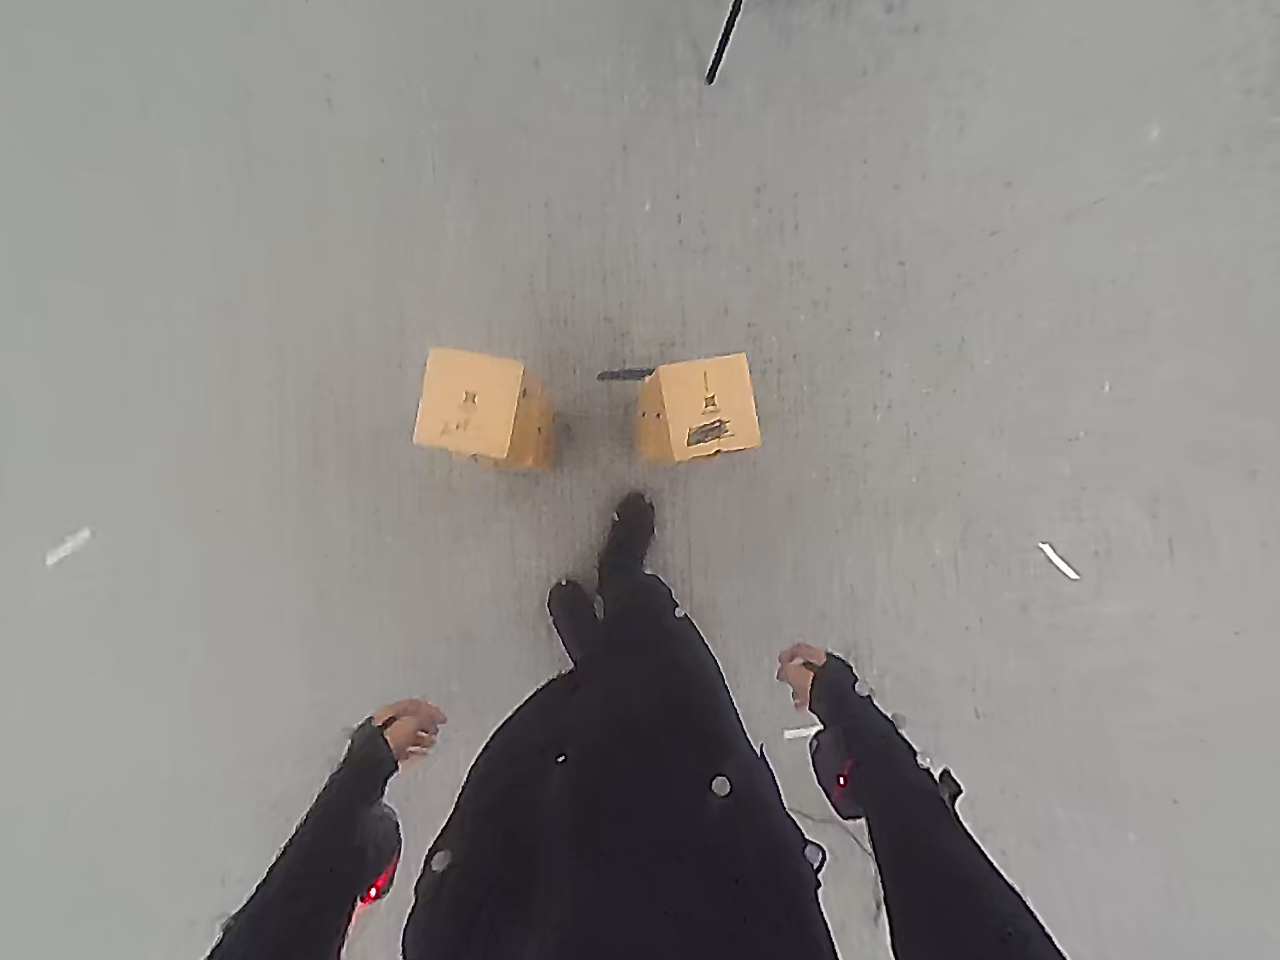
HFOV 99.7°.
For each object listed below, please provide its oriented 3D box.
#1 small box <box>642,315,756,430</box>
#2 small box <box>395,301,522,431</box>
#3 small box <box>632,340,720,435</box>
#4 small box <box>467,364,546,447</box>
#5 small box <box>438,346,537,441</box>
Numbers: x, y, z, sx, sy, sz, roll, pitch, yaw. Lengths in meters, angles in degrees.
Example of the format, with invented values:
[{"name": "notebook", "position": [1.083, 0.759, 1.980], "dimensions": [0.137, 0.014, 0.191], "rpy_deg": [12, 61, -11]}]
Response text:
[{"name": "small box", "position": [0.102, -0.190, 1.010], "dimensions": [0.168, 0.176, 0.179], "rpy_deg": [-10, 91, -6]}, {"name": "small box", "position": [-0.313, -0.195, 0.971], "dimensions": [0.168, 0.176, 0.179], "rpy_deg": [11, 89, -4]}, {"name": "small box", "position": [0.072, -0.194, 1.173], "dimensions": [0.168, 0.176, 0.179], "rpy_deg": [-2, 89, -6]}, {"name": "small box", "position": [-0.316, -0.177, 1.298], "dimensions": [0.168, 0.176, 0.179], "rpy_deg": [2, 89, -5]}, {"name": "small box", "position": [-0.311, -0.183, 1.136], "dimensions": [0.168, 0.176, 0.179], "rpy_deg": [5, 89, -5]}]
